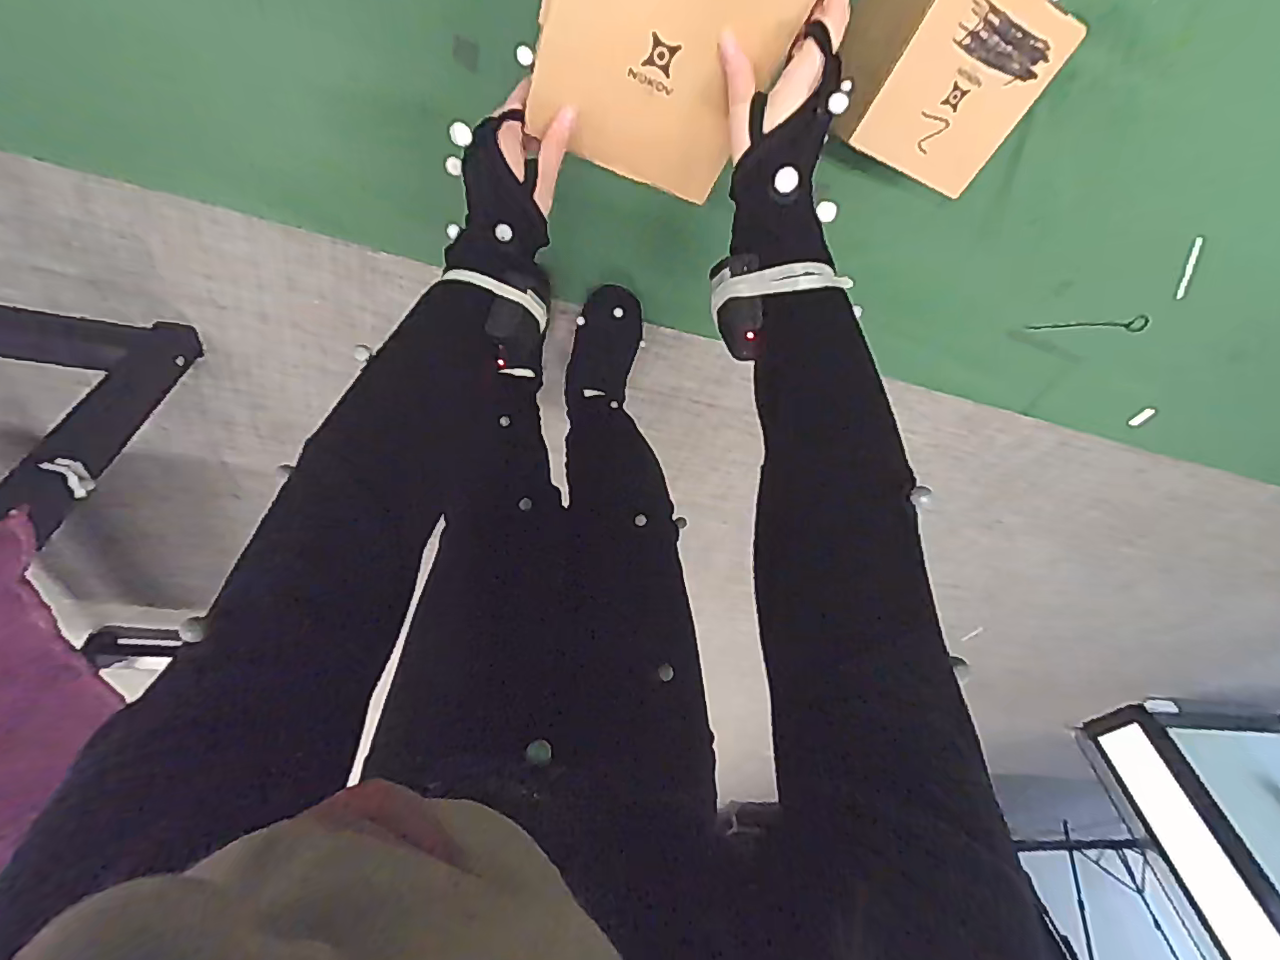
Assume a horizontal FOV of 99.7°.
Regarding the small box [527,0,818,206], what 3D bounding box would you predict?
[{"bbox_3d":[0.016,-0.371,0.432,0.168,0.176,0.179,13,149,-19],"label":"small box"}]
